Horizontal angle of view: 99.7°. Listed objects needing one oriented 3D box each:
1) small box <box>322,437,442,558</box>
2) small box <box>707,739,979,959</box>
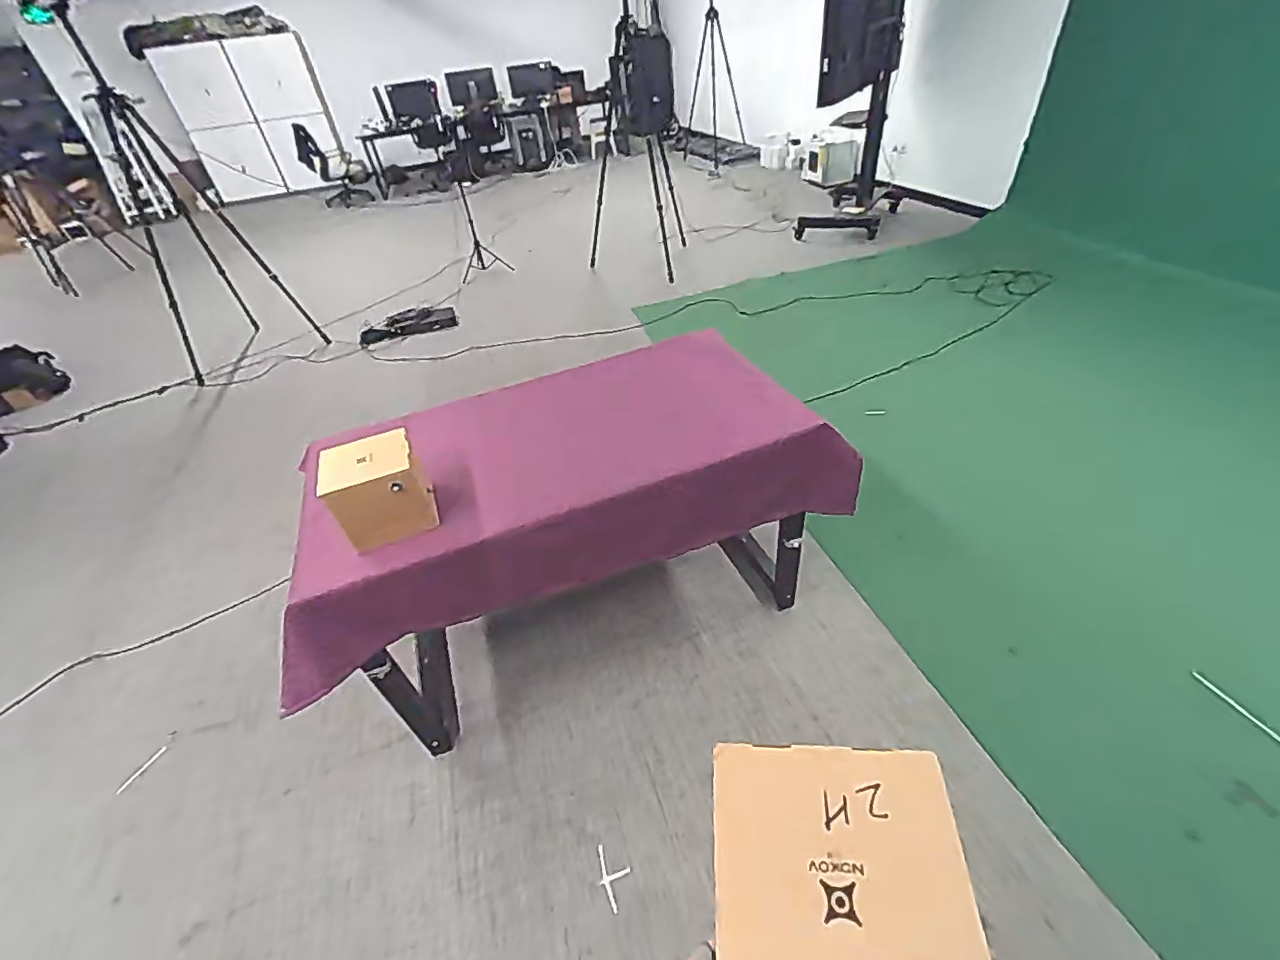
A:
[{"bbox_3d":[-0.542,0.039,1.147,0.179,0.176,0.168,-19,40,-14],"label":"small box"},{"bbox_3d":[0.140,0.320,0.418,0.168,0.176,0.179,-2,48,9],"label":"small box"}]
